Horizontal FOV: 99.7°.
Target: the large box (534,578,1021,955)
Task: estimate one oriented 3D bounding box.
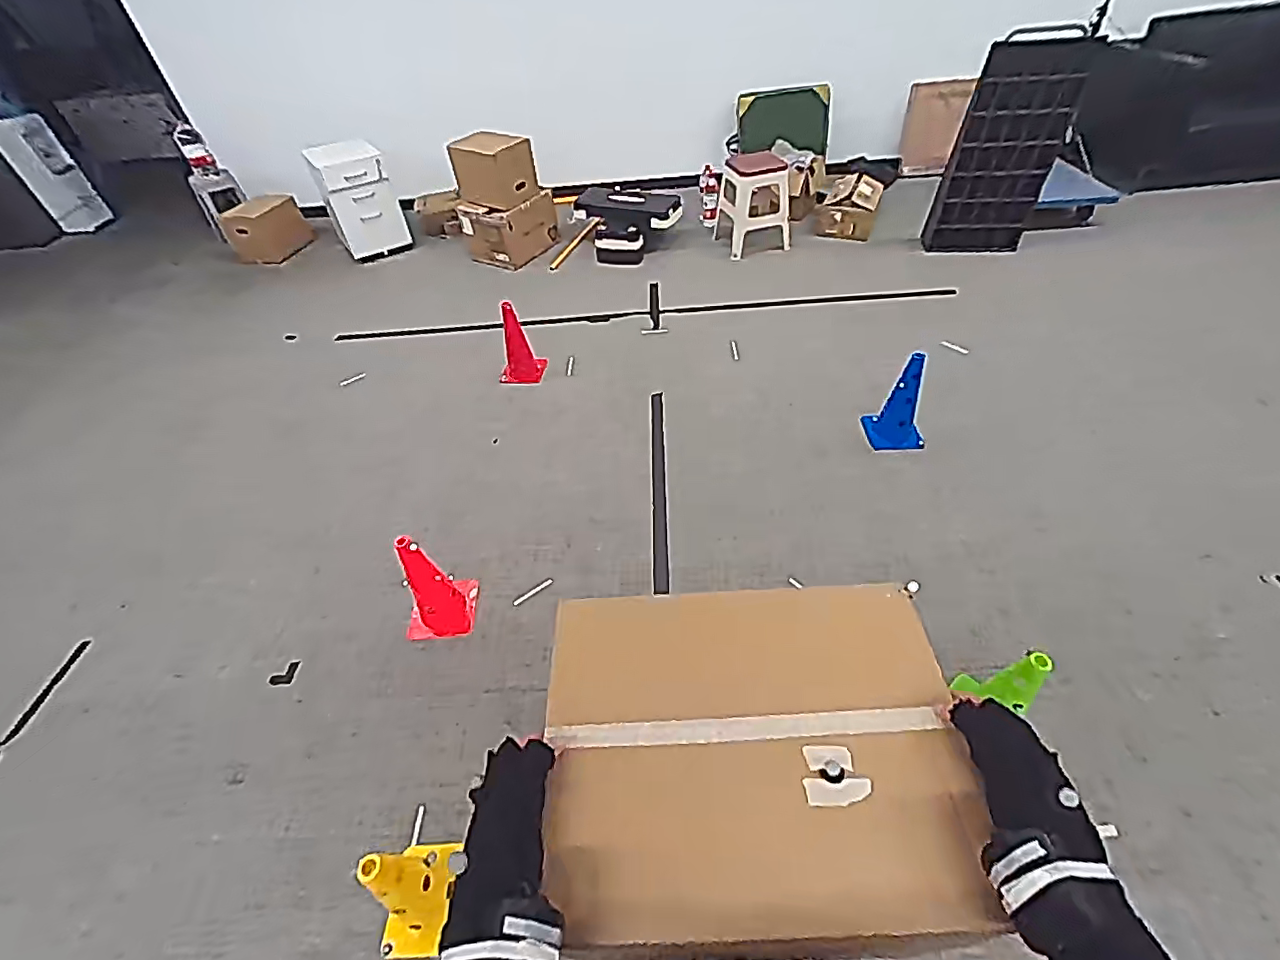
[{"bbox_3d":[0.113,0.342,0.644,0.408,0.320,0.320,-3,46,2],"label":"large box"}]

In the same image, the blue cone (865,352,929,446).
[{"bbox_3d":[0.994,-0.311,2.027,0.192,0.380,0.193,0,46,4],"label":"blue cone"}]

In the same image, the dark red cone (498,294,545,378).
[{"bbox_3d":[-0.575,-0.661,2.478,0.201,0.394,0.202,2,46,6],"label":"dark red cone"}]

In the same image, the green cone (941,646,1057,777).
[{"bbox_3d":[0.849,0.491,1.242,0.202,0.368,0.200,-31,51,-24],"label":"green cone"}]

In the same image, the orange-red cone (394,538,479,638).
[{"bbox_3d":[-0.634,0.292,1.596,0.198,0.360,0.199,-6,47,2],"label":"orange-red cone"}]
